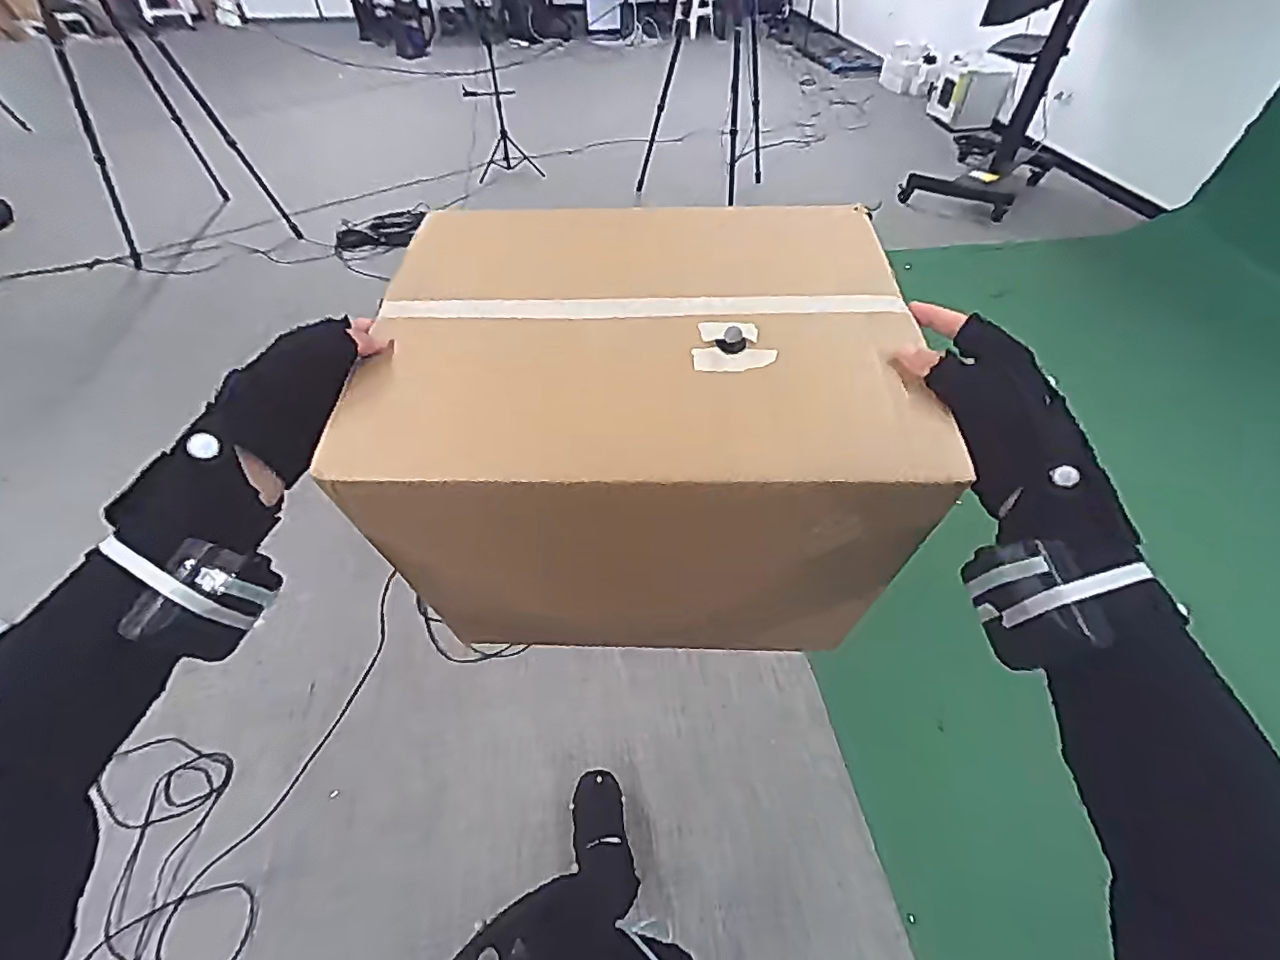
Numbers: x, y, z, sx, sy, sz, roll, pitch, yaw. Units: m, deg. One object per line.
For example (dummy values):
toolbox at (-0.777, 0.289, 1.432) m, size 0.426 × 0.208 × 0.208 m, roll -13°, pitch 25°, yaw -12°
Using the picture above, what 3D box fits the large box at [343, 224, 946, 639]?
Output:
large box at (0.004, -0.038, 0.557) m, size 0.408 × 0.320 × 0.320 m, roll 1°, pitch 54°, yaw 1°
